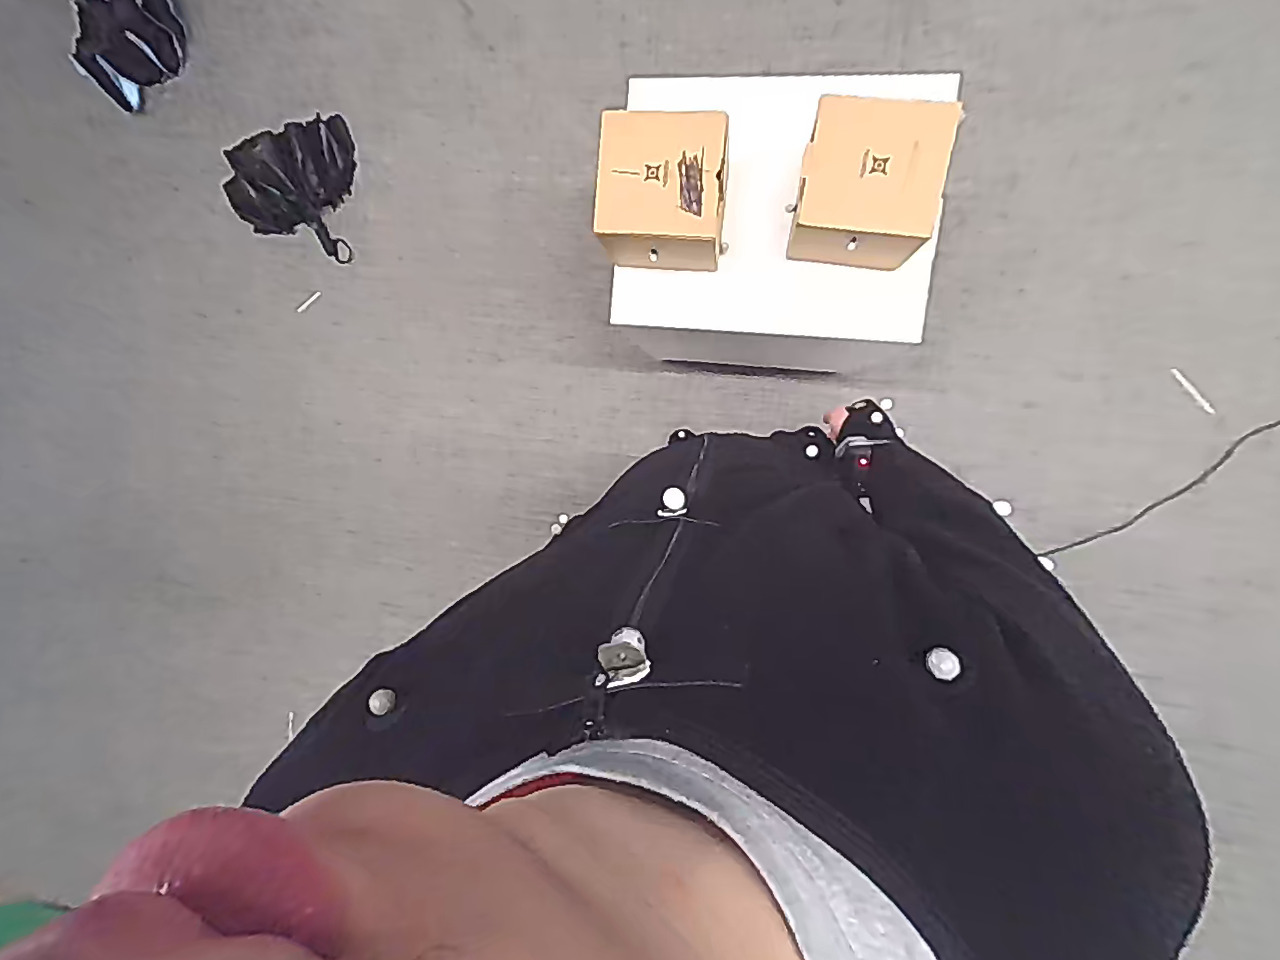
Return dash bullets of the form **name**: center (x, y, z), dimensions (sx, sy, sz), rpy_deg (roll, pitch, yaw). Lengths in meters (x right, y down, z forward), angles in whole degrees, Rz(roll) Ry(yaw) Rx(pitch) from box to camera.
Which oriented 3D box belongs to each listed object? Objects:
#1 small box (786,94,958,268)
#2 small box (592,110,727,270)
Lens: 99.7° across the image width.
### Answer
- **small box**: center (0.316, -0.416, 0.777), dimensions (0.179, 0.176, 0.168), rpy_deg (10, 99, 8)
- **small box**: center (0.037, -0.428, 0.822), dimensions (0.179, 0.176, 0.168), rpy_deg (7, 97, 9)
